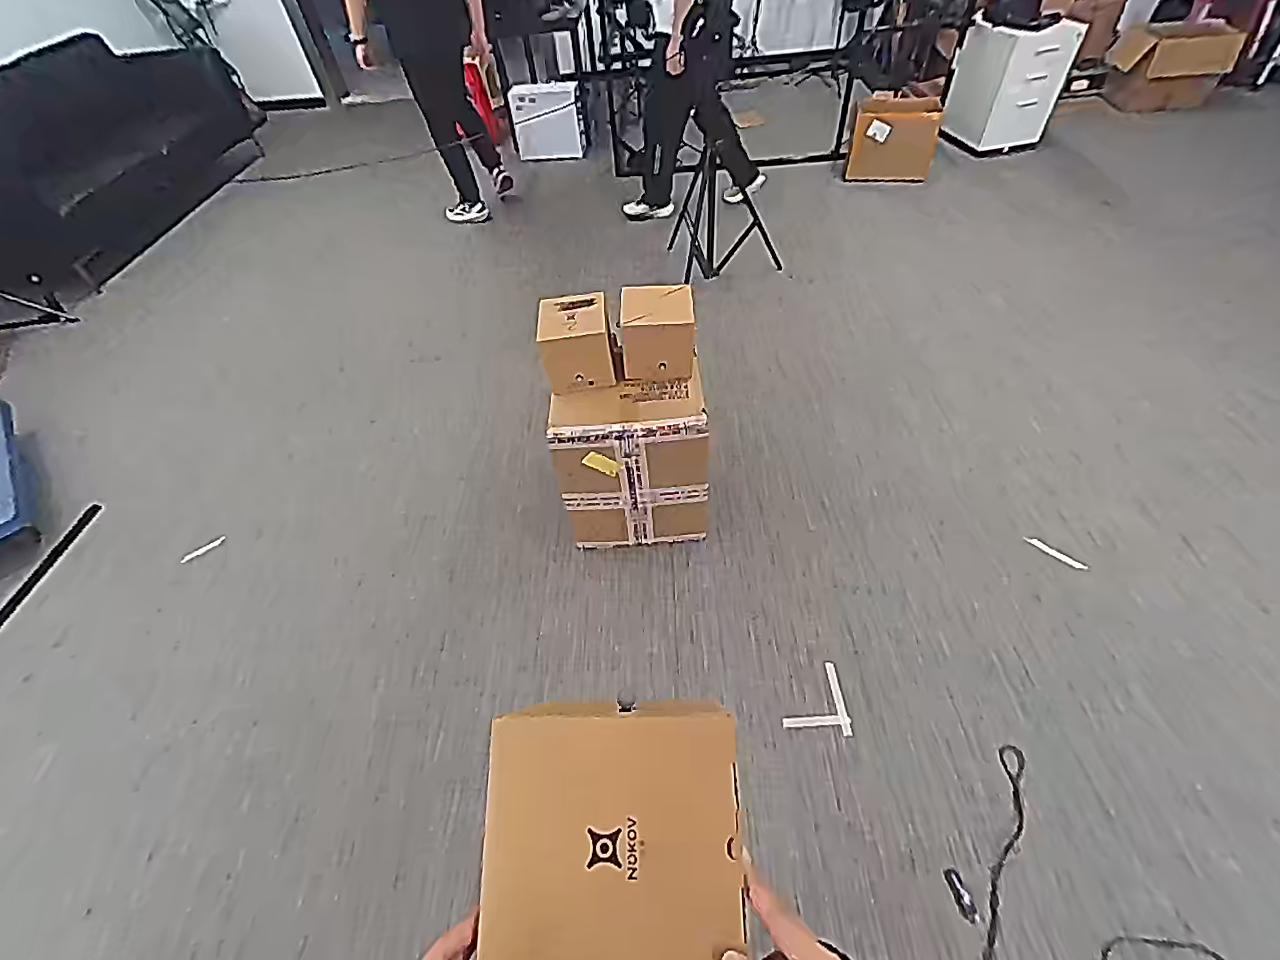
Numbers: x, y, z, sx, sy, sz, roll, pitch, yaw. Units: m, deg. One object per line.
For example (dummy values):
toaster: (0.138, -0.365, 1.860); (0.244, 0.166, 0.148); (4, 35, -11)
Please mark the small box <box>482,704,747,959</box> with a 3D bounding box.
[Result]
small box: (-0.013, 0.280, 0.448); (0.179, 0.176, 0.168); (-2, 70, 2)
